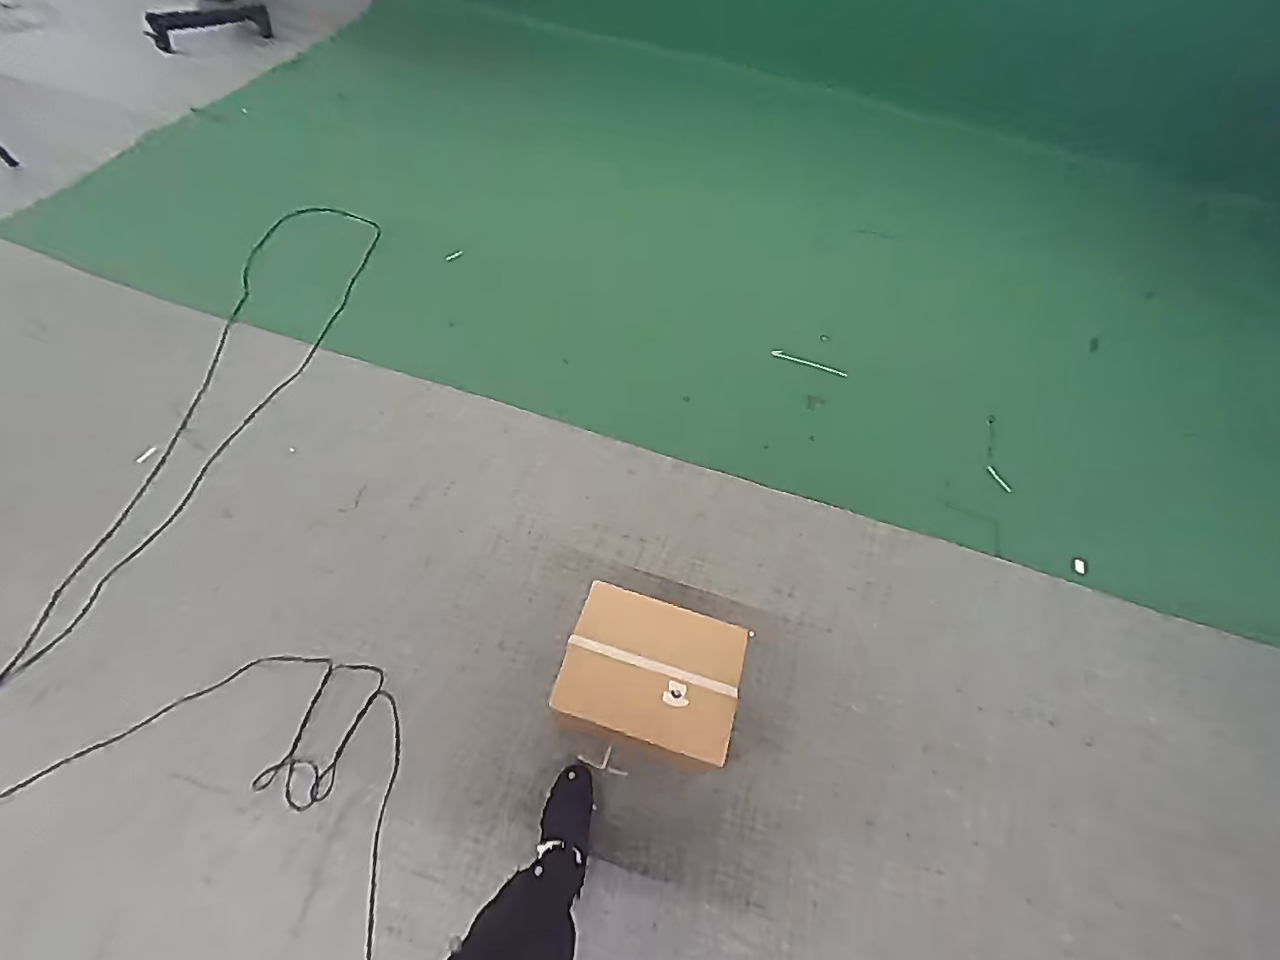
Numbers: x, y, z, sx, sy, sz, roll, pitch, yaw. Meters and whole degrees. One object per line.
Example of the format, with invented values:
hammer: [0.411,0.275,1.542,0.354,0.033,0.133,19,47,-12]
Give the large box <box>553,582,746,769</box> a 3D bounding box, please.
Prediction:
large box: [0.017,0.508,1.390,0.408,0.320,0.320,16,58,4]
